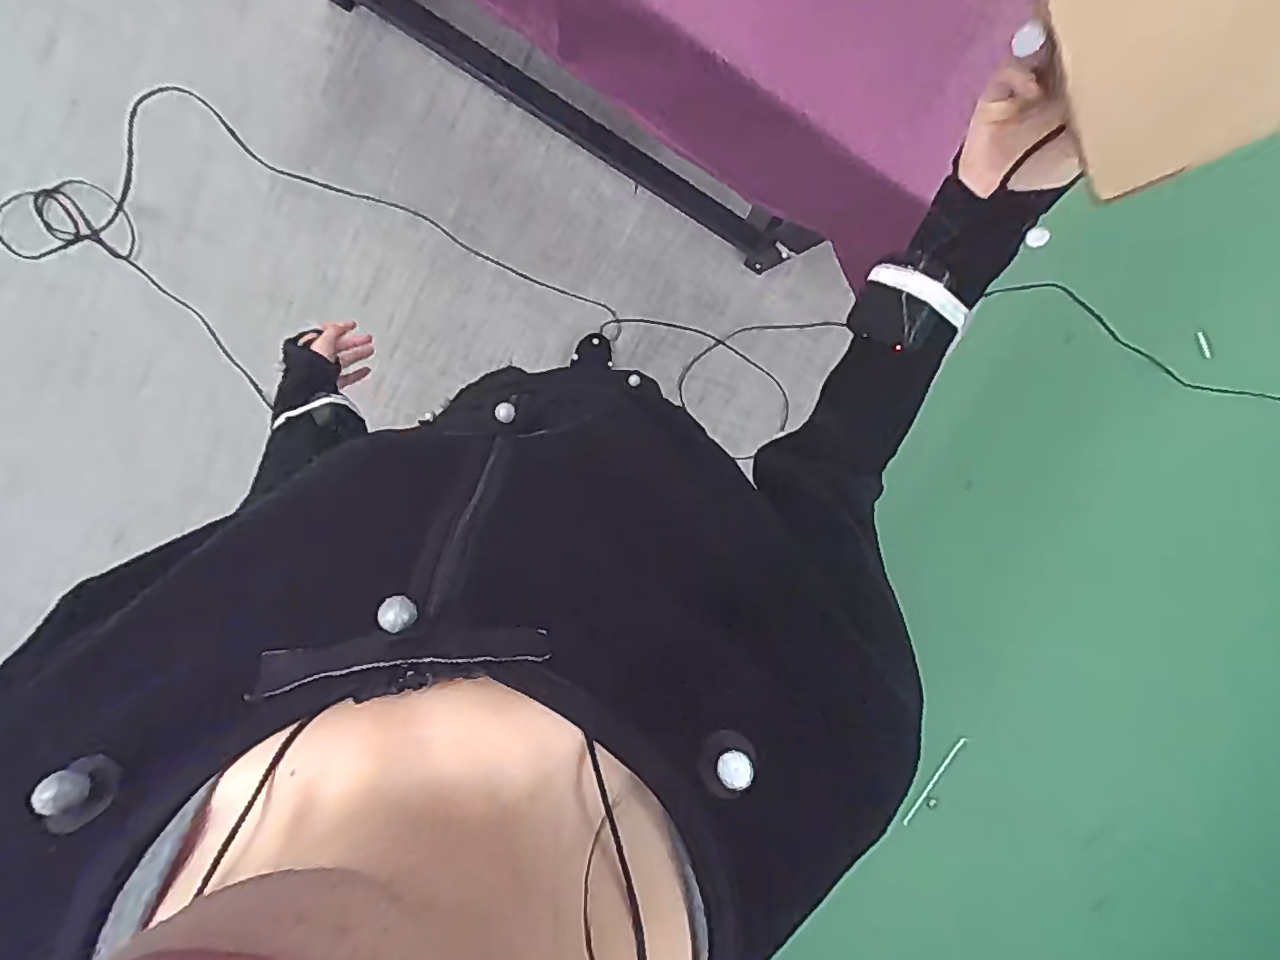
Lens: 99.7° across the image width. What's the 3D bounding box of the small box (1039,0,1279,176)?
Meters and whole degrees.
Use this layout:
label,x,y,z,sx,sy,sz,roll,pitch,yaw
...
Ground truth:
label,x,y,z,sx,sy,sz,roll,pitch,yaw
small box,0.256,-0.267,0.212,0.168,0.179,0.176,-16,121,41
